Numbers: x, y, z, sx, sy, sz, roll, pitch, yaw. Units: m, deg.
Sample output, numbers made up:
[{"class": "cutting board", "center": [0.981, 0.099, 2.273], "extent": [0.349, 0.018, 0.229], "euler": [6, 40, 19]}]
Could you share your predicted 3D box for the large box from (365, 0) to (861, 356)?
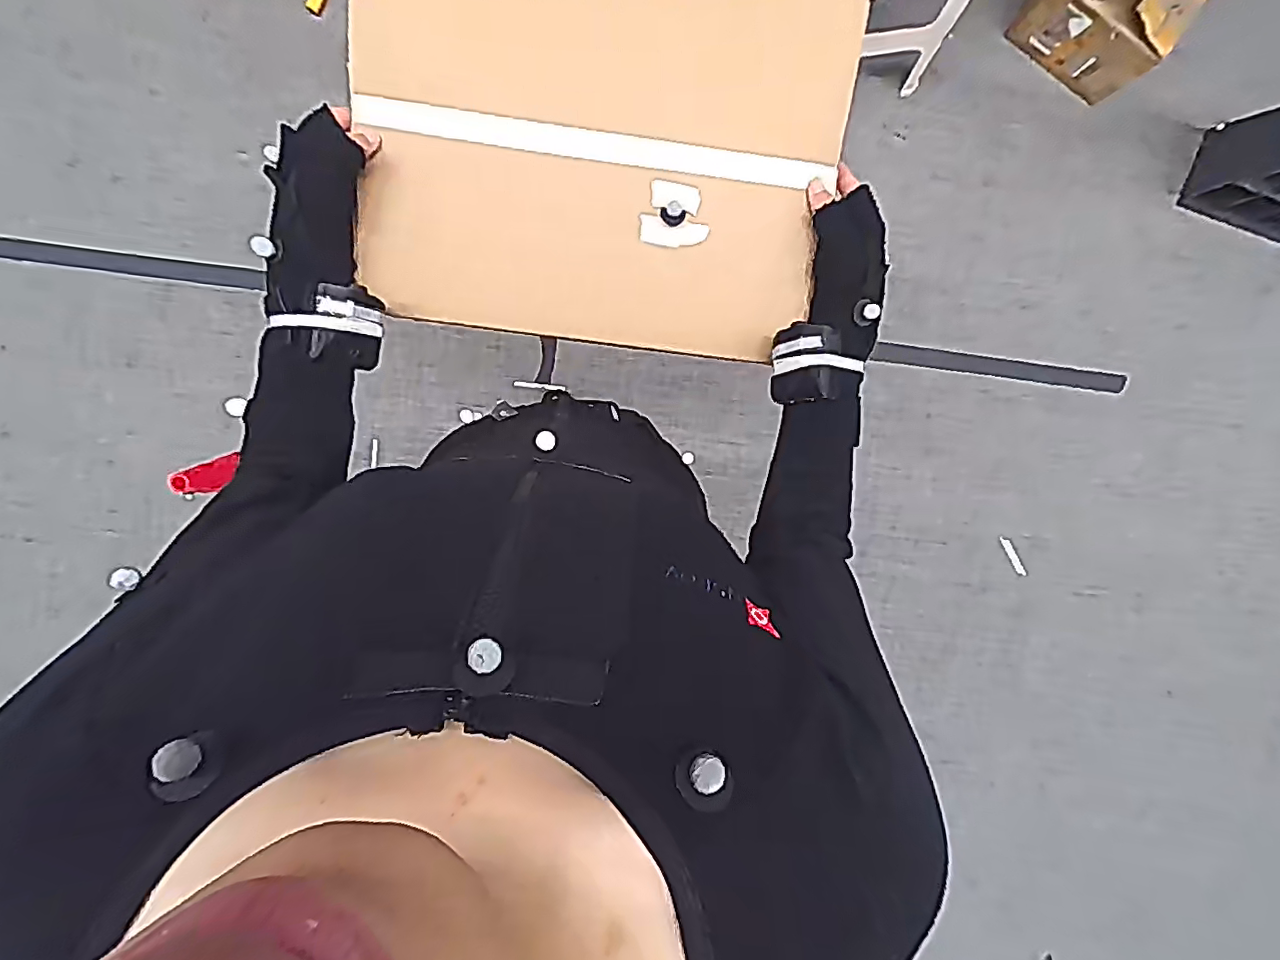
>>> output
[{"class": "large box", "center": [-0.039, -0.317, 0.604], "extent": [0.408, 0.320, 0.320], "euler": [6, 104, -5]}]

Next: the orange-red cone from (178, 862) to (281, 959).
[{"class": "orange-red cone", "center": [-1.150, 1.243, 1.419], "extent": [0.198, 0.360, 0.199], "euler": [4, 99, -2]}]

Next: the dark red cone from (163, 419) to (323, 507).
[{"class": "dark red cone", "center": [-0.914, -0.022, 1.229], "extent": [0.201, 0.394, 0.202], "euler": [12, 97, -6]}]
